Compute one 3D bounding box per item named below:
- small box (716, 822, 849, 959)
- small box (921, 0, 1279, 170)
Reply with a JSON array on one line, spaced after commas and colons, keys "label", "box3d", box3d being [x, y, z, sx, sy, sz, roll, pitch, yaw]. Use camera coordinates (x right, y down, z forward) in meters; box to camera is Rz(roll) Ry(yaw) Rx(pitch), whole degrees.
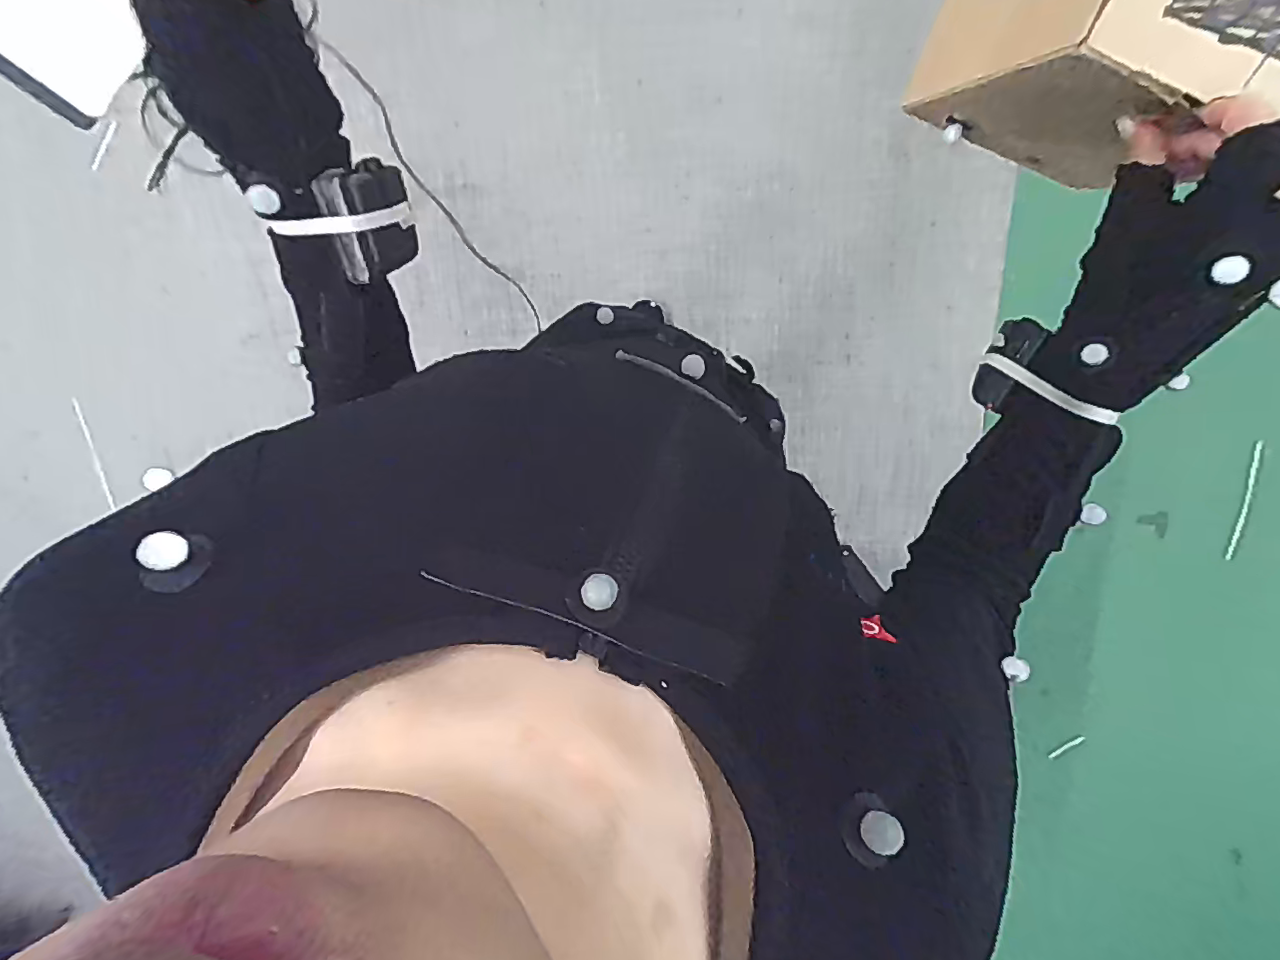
[{"label": "small box", "box3d": [0.203, 0.656, 0.810, 0.168, 0.176, 0.179, -2, 105, 5]}, {"label": "small box", "box3d": [0.294, -0.293, 0.297, 0.168, 0.176, 0.179, 14, 113, -12]}]
